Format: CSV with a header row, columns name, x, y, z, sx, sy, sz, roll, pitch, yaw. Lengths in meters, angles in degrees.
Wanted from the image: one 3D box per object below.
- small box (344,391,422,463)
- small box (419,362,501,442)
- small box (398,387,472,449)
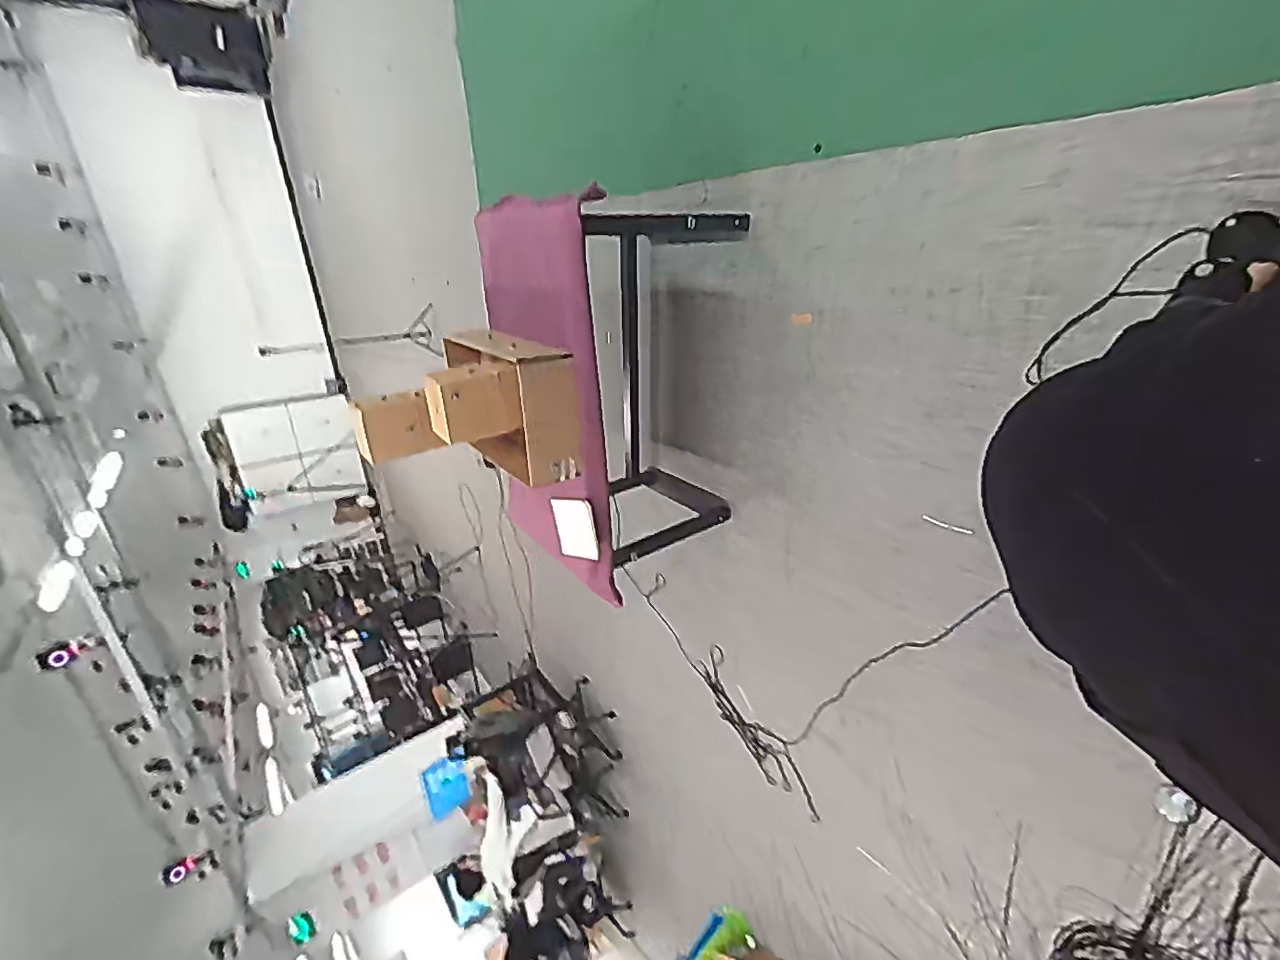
name,x,y,z,sx,sy,sz,roll,pitch,yaw
small box,-0.810,-0.175,1.712,0.168,0.176,0.179,26,125,46
small box,-0.510,-0.229,1.547,0.168,0.176,0.179,29,128,47
small box,-0.681,-0.222,1.801,0.168,0.176,0.179,23,124,47
